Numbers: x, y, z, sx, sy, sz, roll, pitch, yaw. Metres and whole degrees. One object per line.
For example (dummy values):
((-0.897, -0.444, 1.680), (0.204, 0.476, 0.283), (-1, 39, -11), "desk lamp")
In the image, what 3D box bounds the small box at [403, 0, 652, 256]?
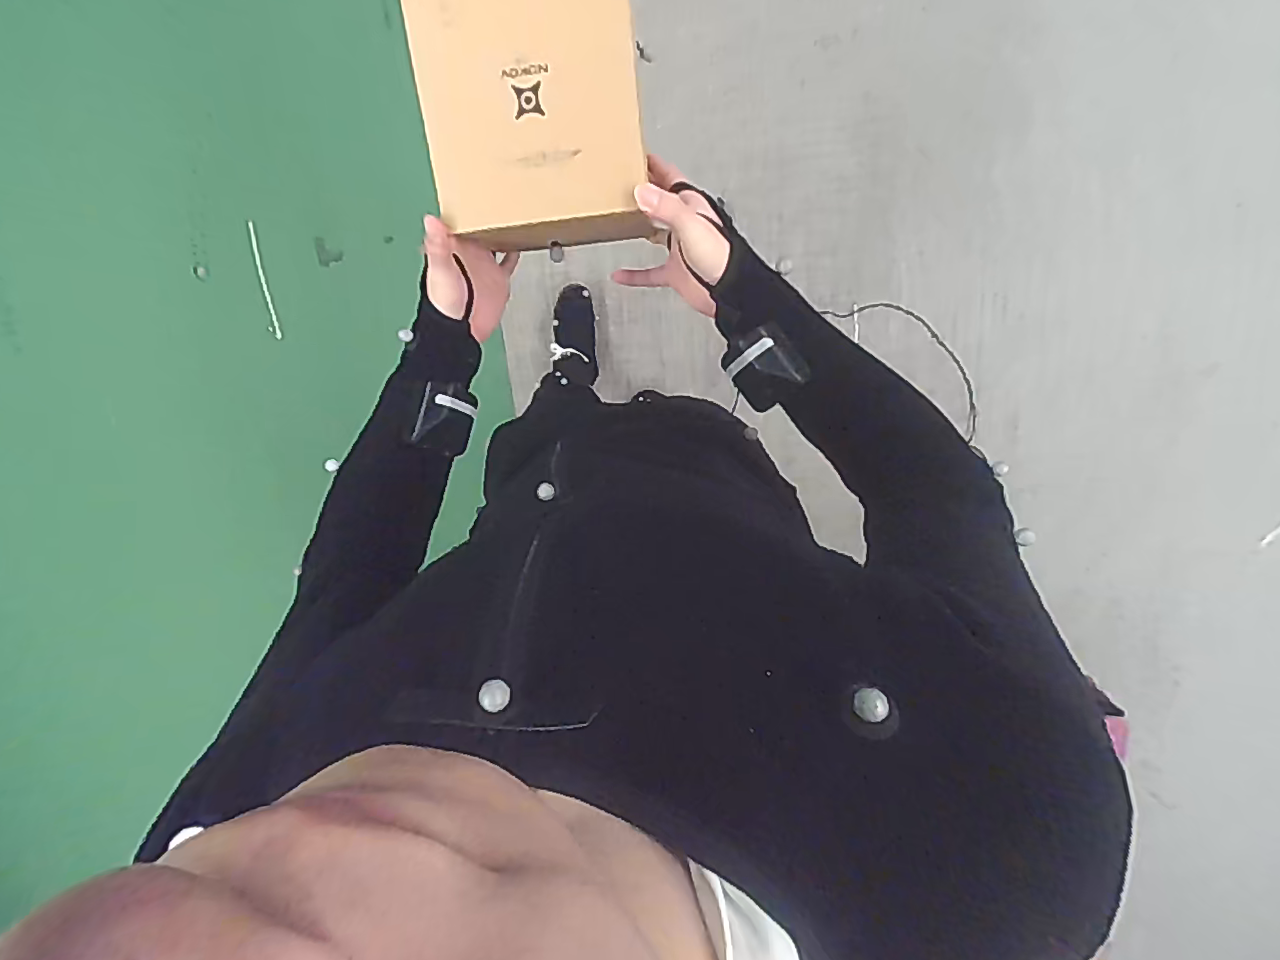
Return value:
((-0.077, -0.302, 0.466), (0.168, 0.176, 0.179), (-4, 107, 4), "small box")

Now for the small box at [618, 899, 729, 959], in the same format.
((0.055, 0.771, 0.815), (0.168, 0.176, 0.179), (-5, 106, 3), "small box")
